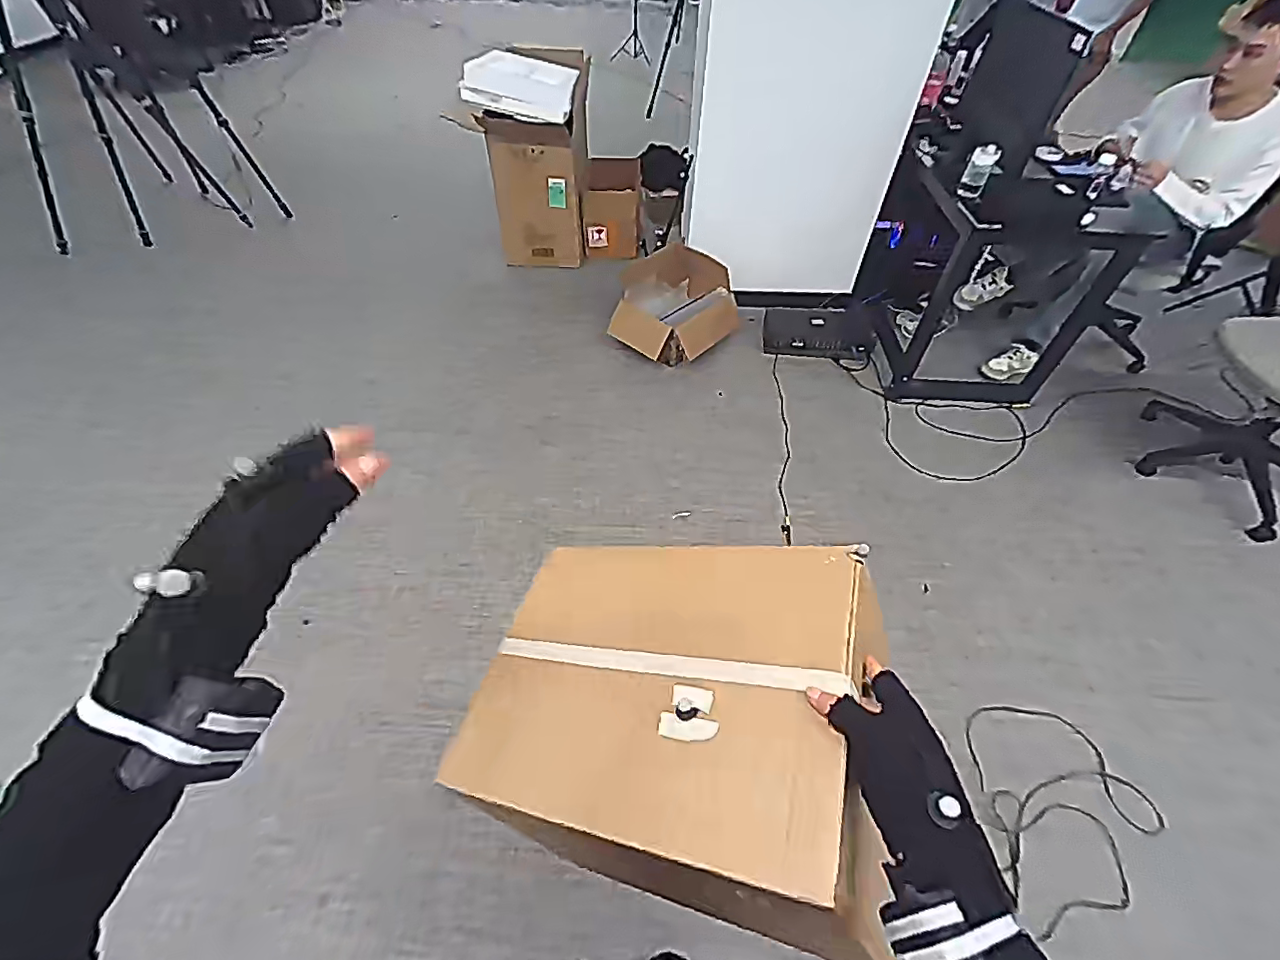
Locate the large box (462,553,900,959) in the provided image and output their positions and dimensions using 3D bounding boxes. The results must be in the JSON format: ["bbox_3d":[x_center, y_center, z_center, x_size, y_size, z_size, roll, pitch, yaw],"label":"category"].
[{"bbox_3d":[0.080,0.308,0.670,0.408,0.320,0.320,-5,43,32],"label":"large box"}]
